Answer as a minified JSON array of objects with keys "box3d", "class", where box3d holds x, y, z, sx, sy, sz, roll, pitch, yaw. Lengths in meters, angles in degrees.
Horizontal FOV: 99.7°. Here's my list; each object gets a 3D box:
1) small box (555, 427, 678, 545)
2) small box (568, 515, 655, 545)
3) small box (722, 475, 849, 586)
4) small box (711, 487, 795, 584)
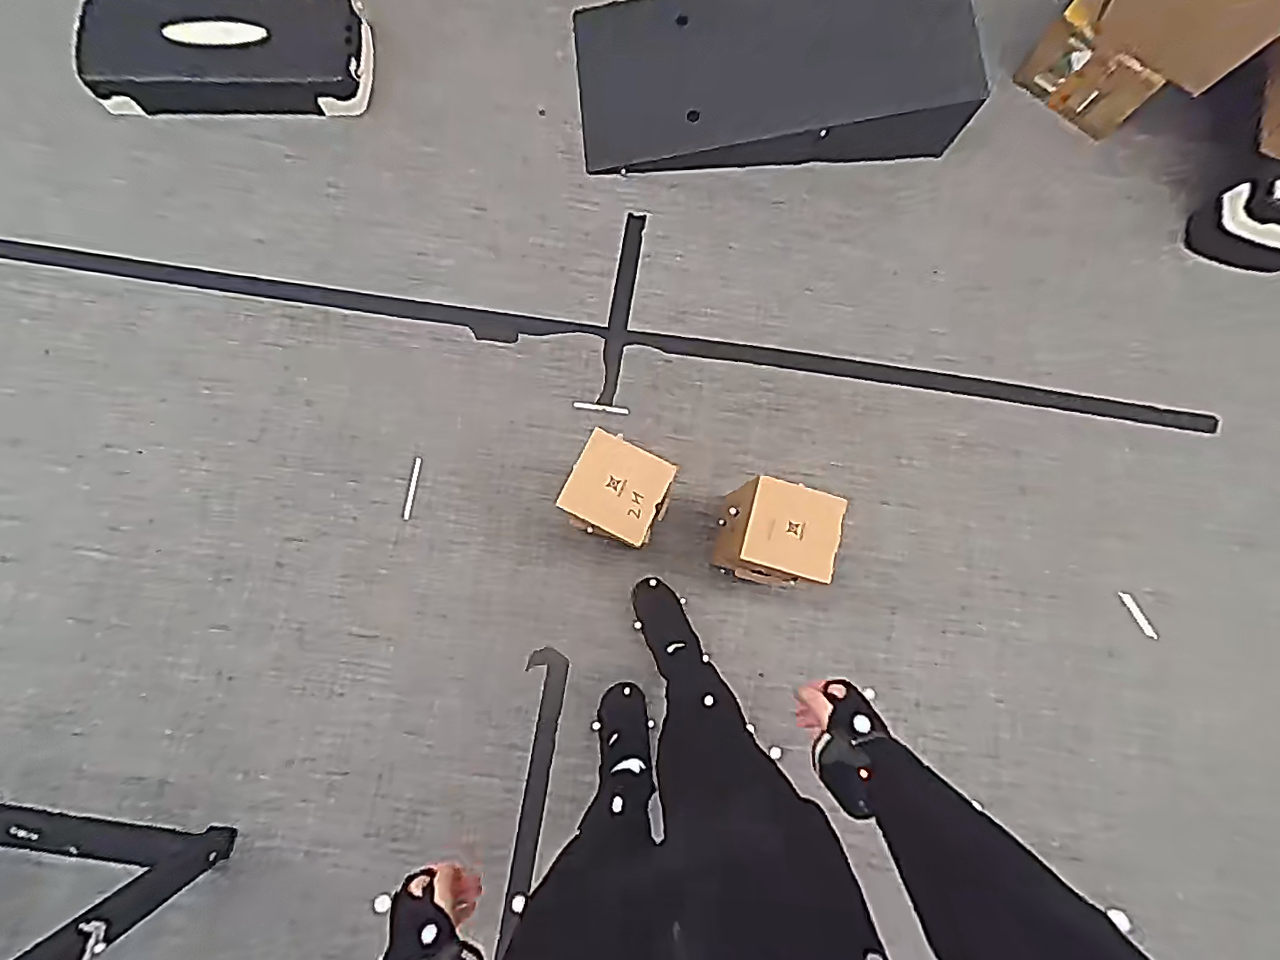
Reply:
[{"box3d":[-0.045,0.021,1.062,0.179,0.176,0.168,27,82,1],"class":"small box"},{"box3d":[-0.053,0.047,1.225,0.179,0.176,0.168,15,82,-2],"class":"small box"},{"box3d":[0.281,0.102,1.072,0.179,0.176,0.168,17,81,-1],"class":"small box"},{"box3d":[0.268,0.128,1.232,0.168,0.176,0.179,15,81,-1],"class":"small box"}]
